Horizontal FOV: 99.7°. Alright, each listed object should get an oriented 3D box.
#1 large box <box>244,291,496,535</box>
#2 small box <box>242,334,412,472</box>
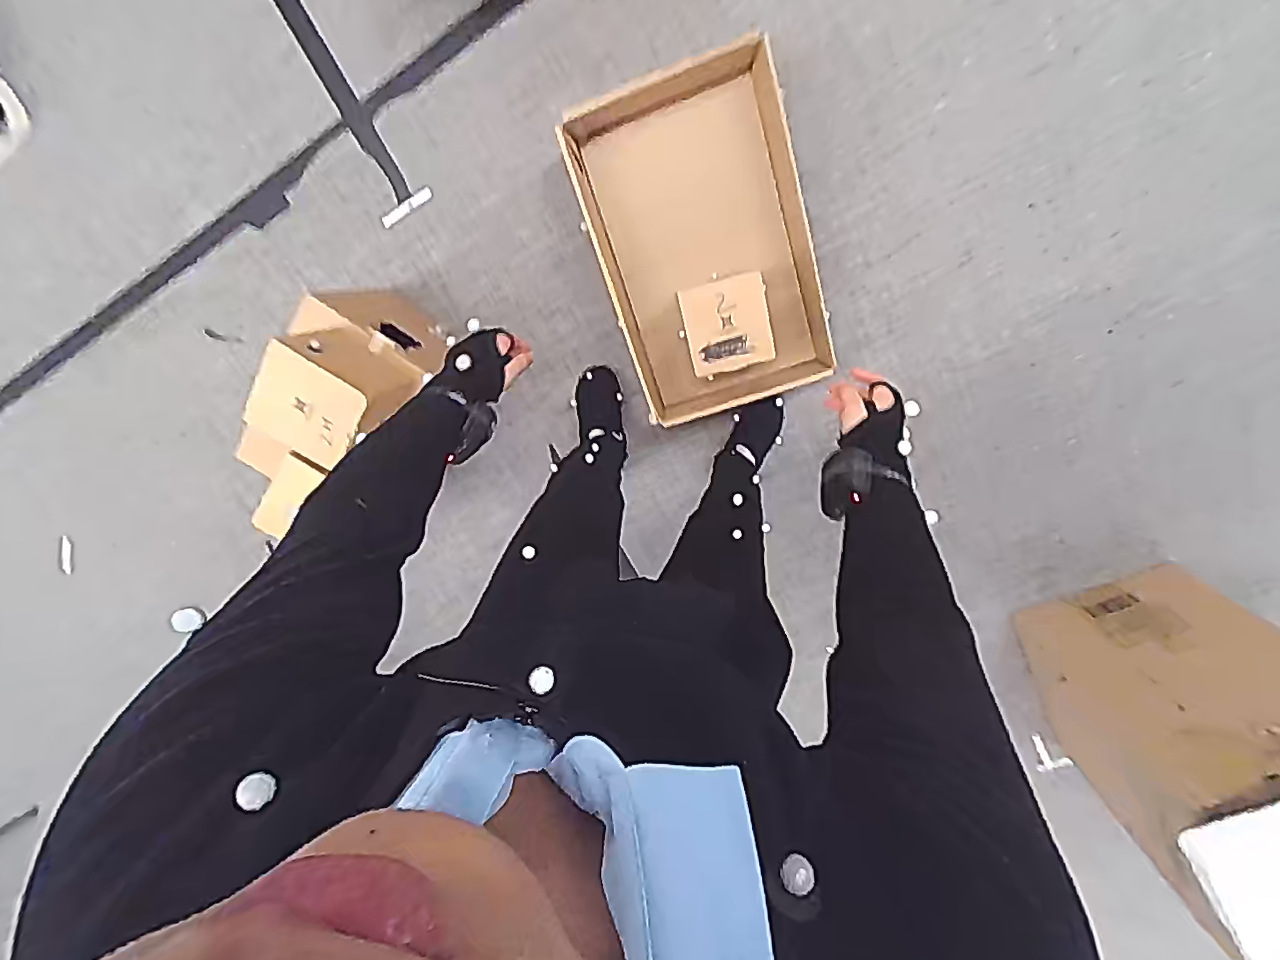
[{"bbox_3d":[-0.589,-0.165,1.228,0.320,0.320,0.408,34,110,-8],"label":"large box"},{"bbox_3d":[-0.549,-0.146,0.969,0.179,0.176,0.168,33,110,-9],"label":"small box"}]
